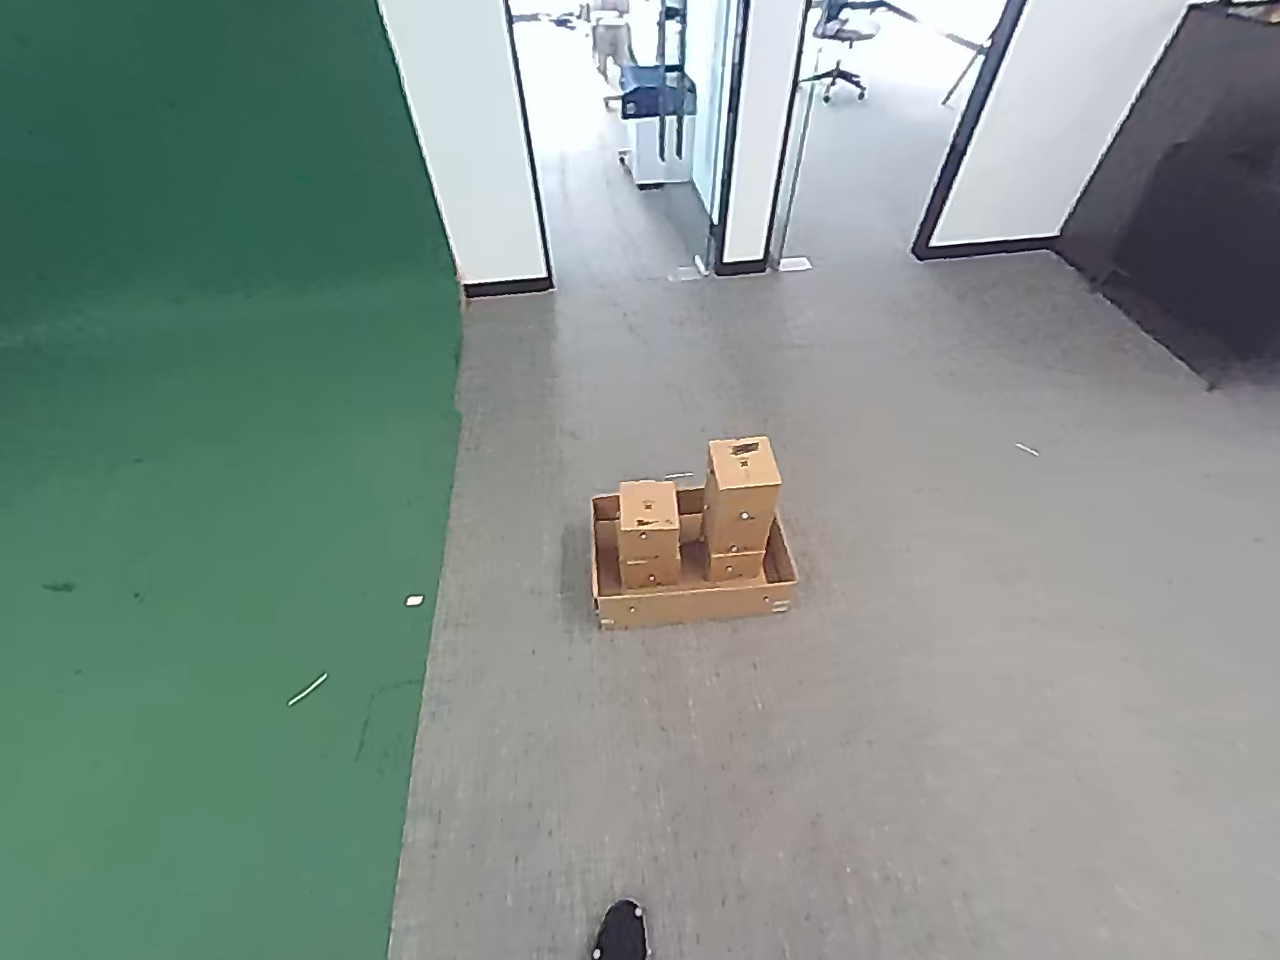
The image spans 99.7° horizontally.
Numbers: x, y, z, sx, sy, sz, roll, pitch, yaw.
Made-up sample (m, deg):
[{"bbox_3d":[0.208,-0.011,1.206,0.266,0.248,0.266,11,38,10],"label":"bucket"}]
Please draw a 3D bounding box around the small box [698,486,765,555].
[{"bbox_3d":[0.270,0.107,1.641,0.168,0.176,0.179,-4,50,-1],"label":"small box"}]

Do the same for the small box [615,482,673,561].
[{"bbox_3d":[0.010,0.126,1.620,0.168,0.176,0.179,-2,49,-1],"label":"small box"}]

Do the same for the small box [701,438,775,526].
[{"bbox_3d":[0.266,0.006,1.512,0.168,0.176,0.179,-5,51,-2],"label":"small box"}]

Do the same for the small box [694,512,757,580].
[{"bbox_3d":[0.273,0.214,1.764,0.168,0.176,0.179,-5,50,-4],"label":"small box"}]

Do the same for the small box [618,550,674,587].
[{"bbox_3d":[0.013,0.233,1.745,0.168,0.176,0.179,-4,50,-6],"label":"small box"}]
